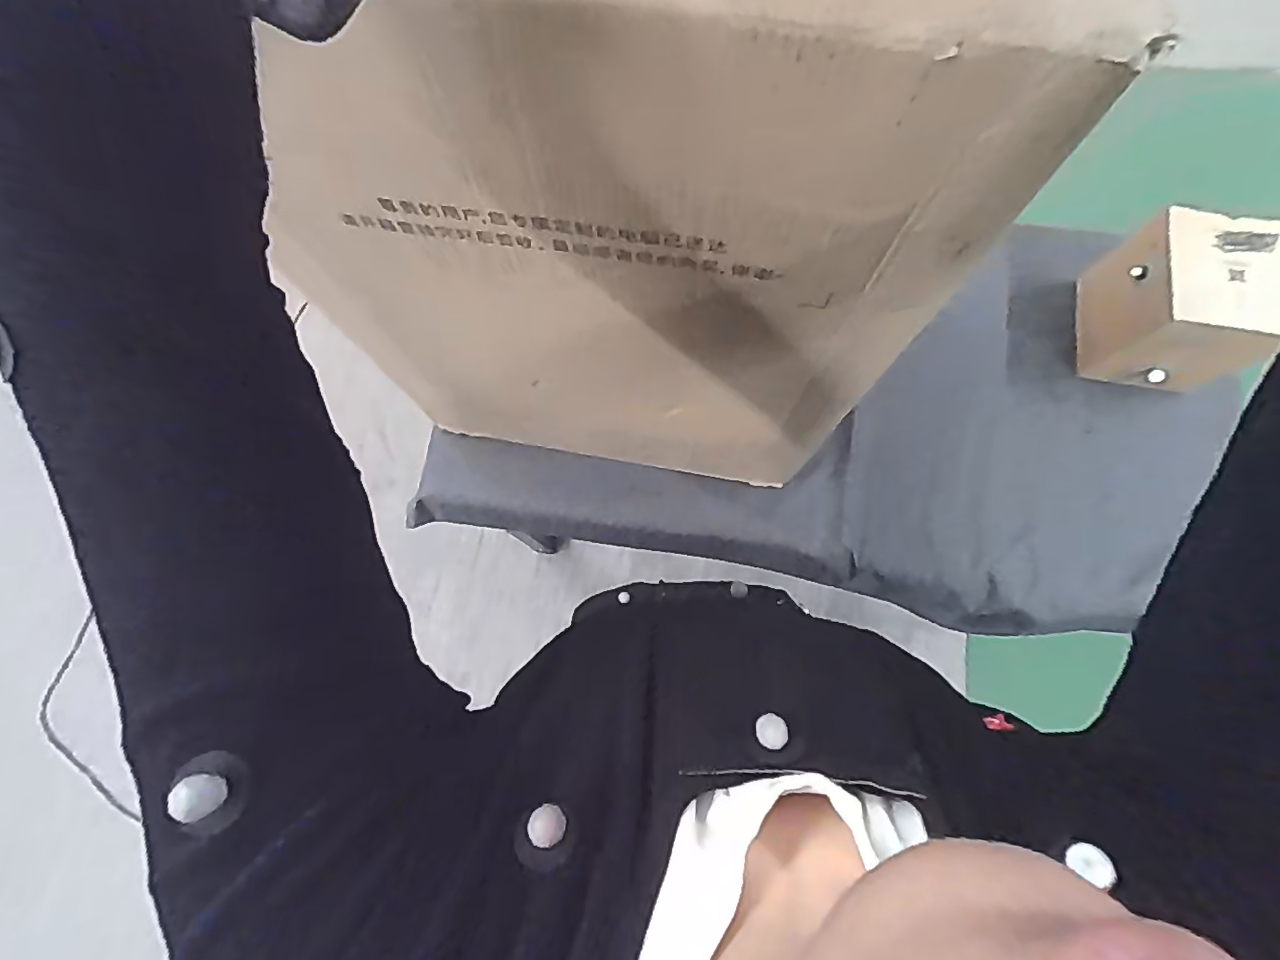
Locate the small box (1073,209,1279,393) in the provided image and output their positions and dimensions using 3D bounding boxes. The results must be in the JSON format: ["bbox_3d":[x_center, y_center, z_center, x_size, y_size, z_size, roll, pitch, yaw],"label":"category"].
[{"bbox_3d":[0.770,-0.250,0.782,0.168,0.176,0.179,11,76,5],"label":"small box"}]
